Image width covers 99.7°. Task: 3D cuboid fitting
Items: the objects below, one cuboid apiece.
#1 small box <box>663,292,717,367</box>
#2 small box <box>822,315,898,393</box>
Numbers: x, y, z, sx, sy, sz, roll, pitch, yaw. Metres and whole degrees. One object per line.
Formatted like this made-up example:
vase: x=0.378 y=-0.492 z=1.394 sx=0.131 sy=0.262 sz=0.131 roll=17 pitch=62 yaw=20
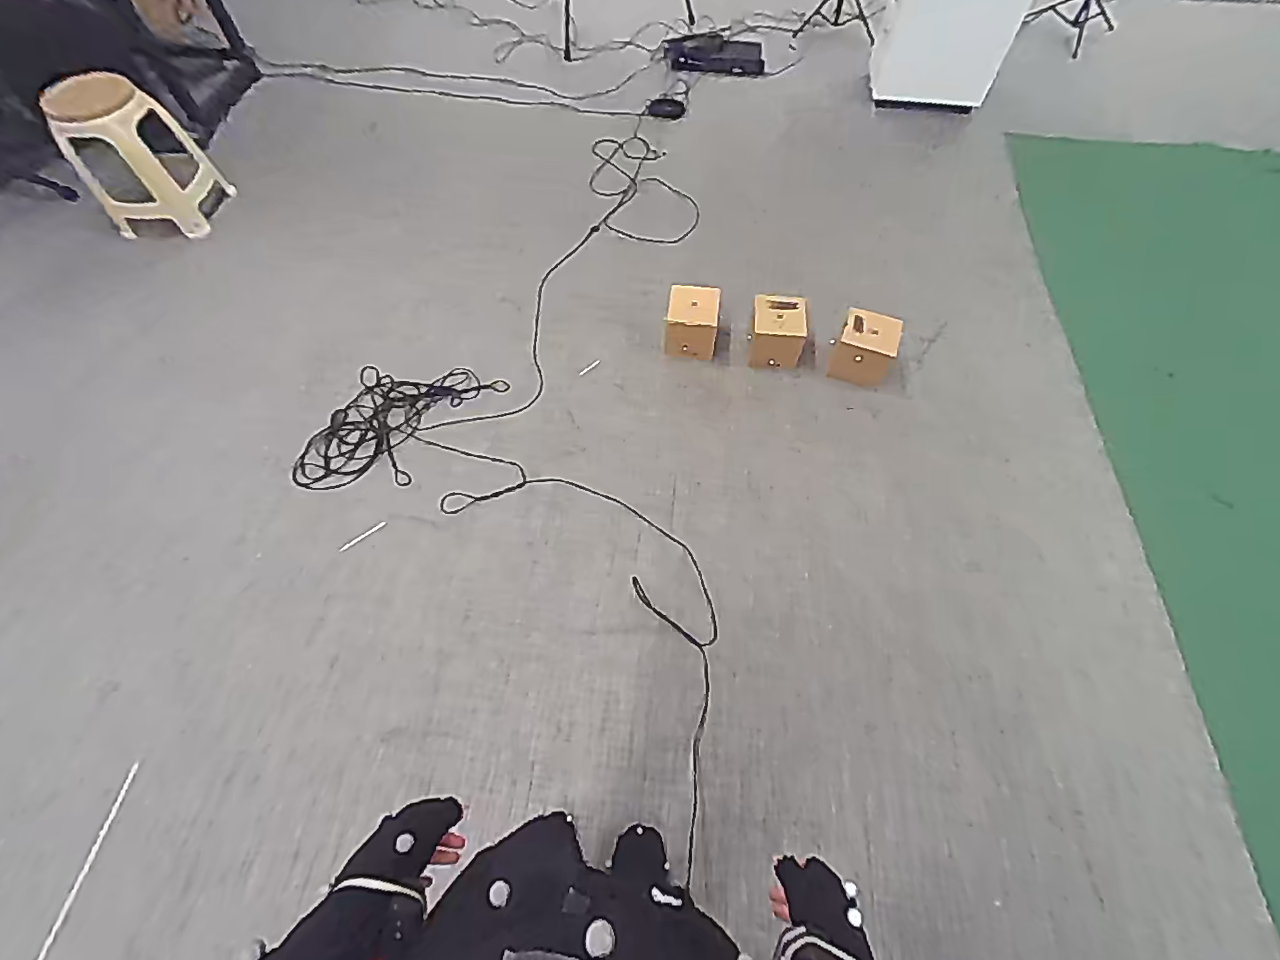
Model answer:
small box: x=0.171 y=-0.519 z=1.868 sx=0.168 sy=0.176 sz=0.179 roll=6 pitch=61 yaw=4
small box: x=0.729 y=-0.416 z=1.805 sx=0.179 sy=0.176 sz=0.168 roll=19 pitch=62 yaw=9
